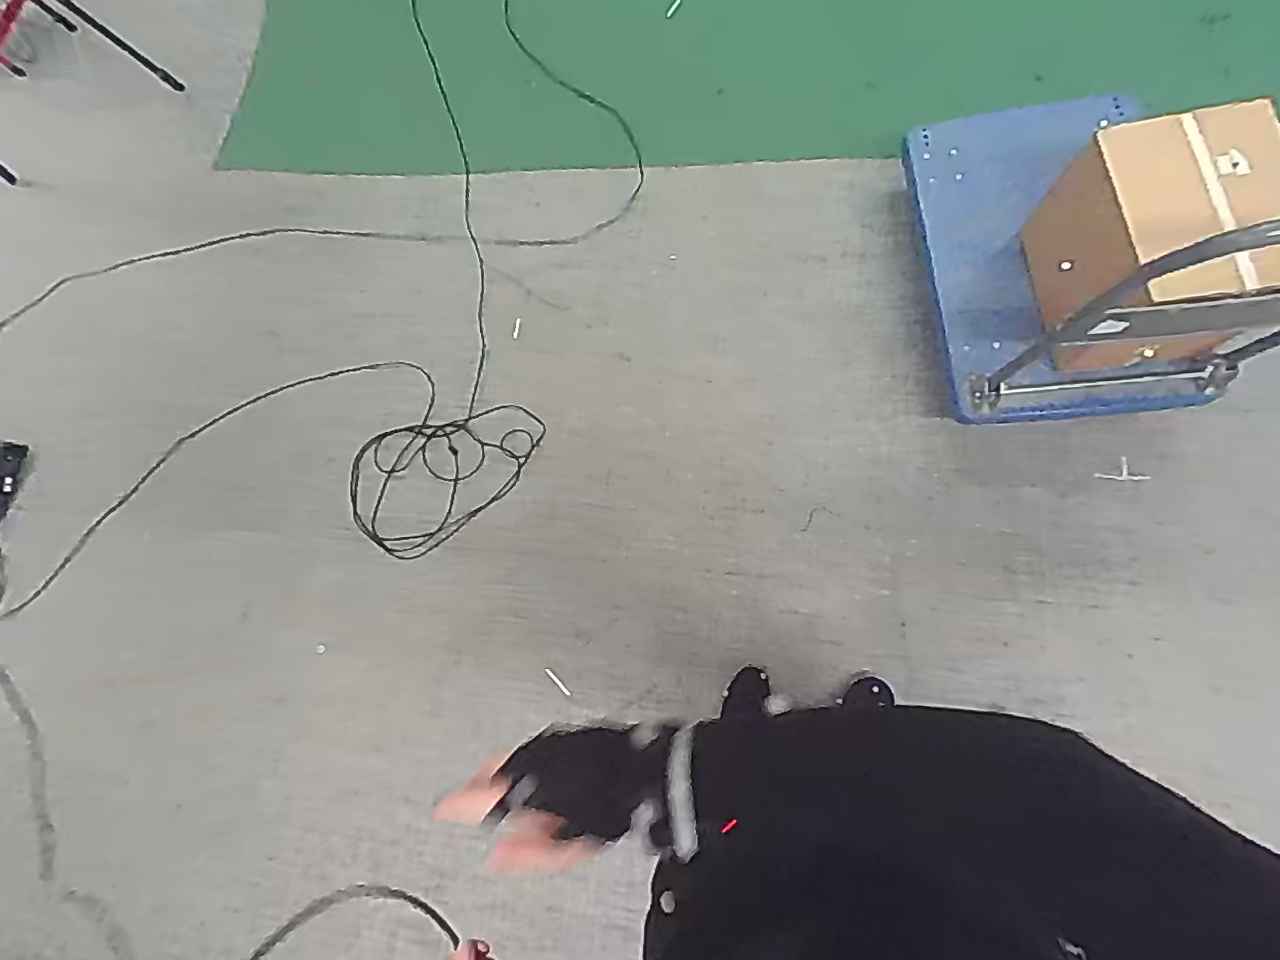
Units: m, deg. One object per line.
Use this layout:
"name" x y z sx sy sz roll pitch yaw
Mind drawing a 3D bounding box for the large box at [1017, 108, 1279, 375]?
"large box" 1.106 -0.492 1.180 0.320 0.320 0.408 -6 75 7
